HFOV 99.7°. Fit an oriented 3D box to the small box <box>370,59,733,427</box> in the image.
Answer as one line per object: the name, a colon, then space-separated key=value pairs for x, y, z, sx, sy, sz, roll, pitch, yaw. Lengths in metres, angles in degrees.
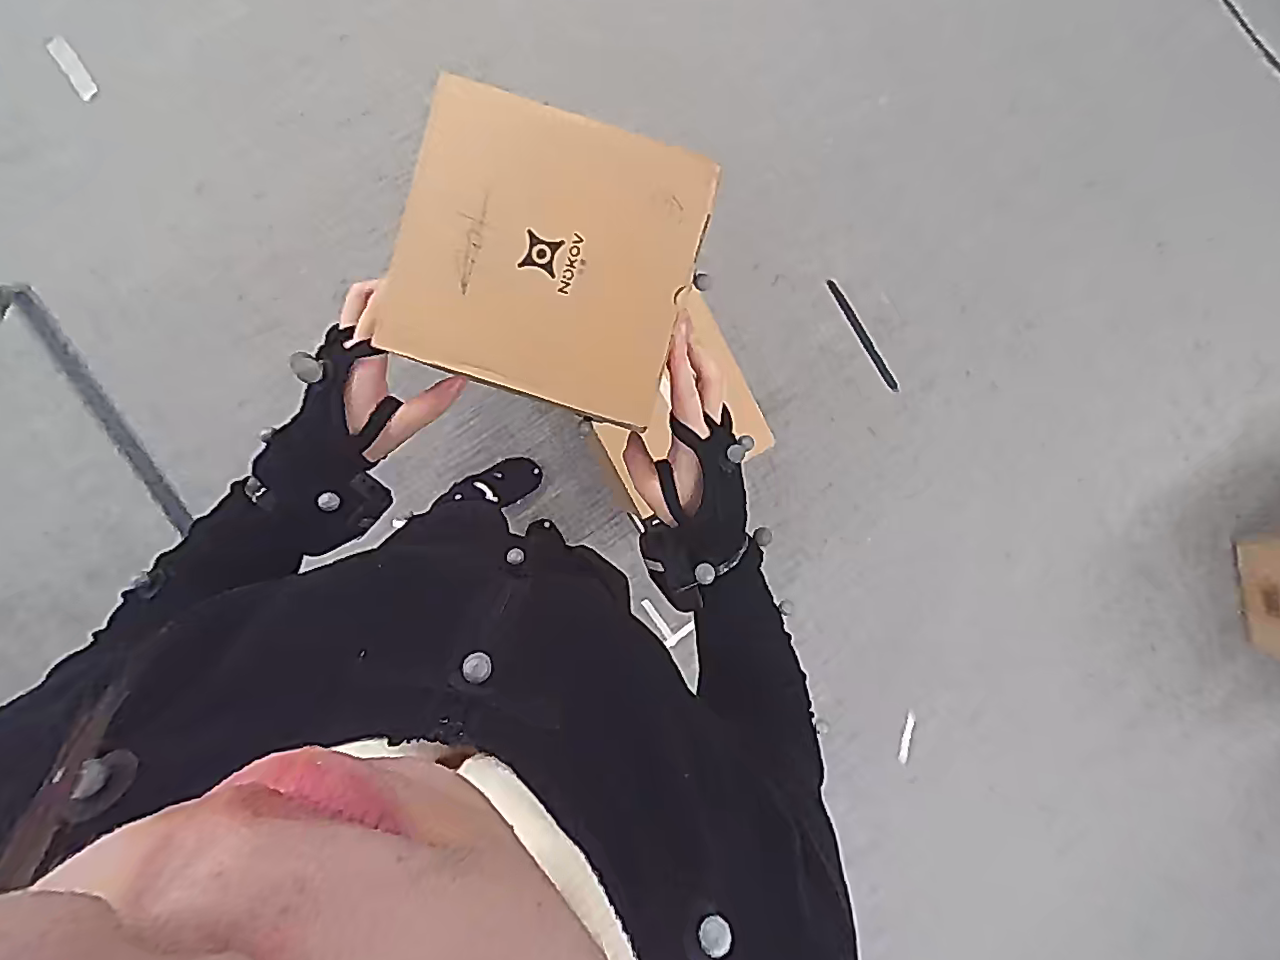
small box: x=-0.052 y=-0.140 z=0.389 sx=0.179 sy=0.176 sz=0.168 roll=16 pitch=94 yaw=-1

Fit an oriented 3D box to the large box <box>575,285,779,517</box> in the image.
large box: x=0.031 y=-0.171 z=1.176 sx=0.320 sy=0.320 sz=0.408 roll=-28 pitch=94 yaw=-8

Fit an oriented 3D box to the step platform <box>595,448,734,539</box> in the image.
step platform: x=-0.022 y=-0.193 z=1.409 sx=0.286 sy=0.204 sz=0.684 roll=-26 pitch=93 yaw=-8
